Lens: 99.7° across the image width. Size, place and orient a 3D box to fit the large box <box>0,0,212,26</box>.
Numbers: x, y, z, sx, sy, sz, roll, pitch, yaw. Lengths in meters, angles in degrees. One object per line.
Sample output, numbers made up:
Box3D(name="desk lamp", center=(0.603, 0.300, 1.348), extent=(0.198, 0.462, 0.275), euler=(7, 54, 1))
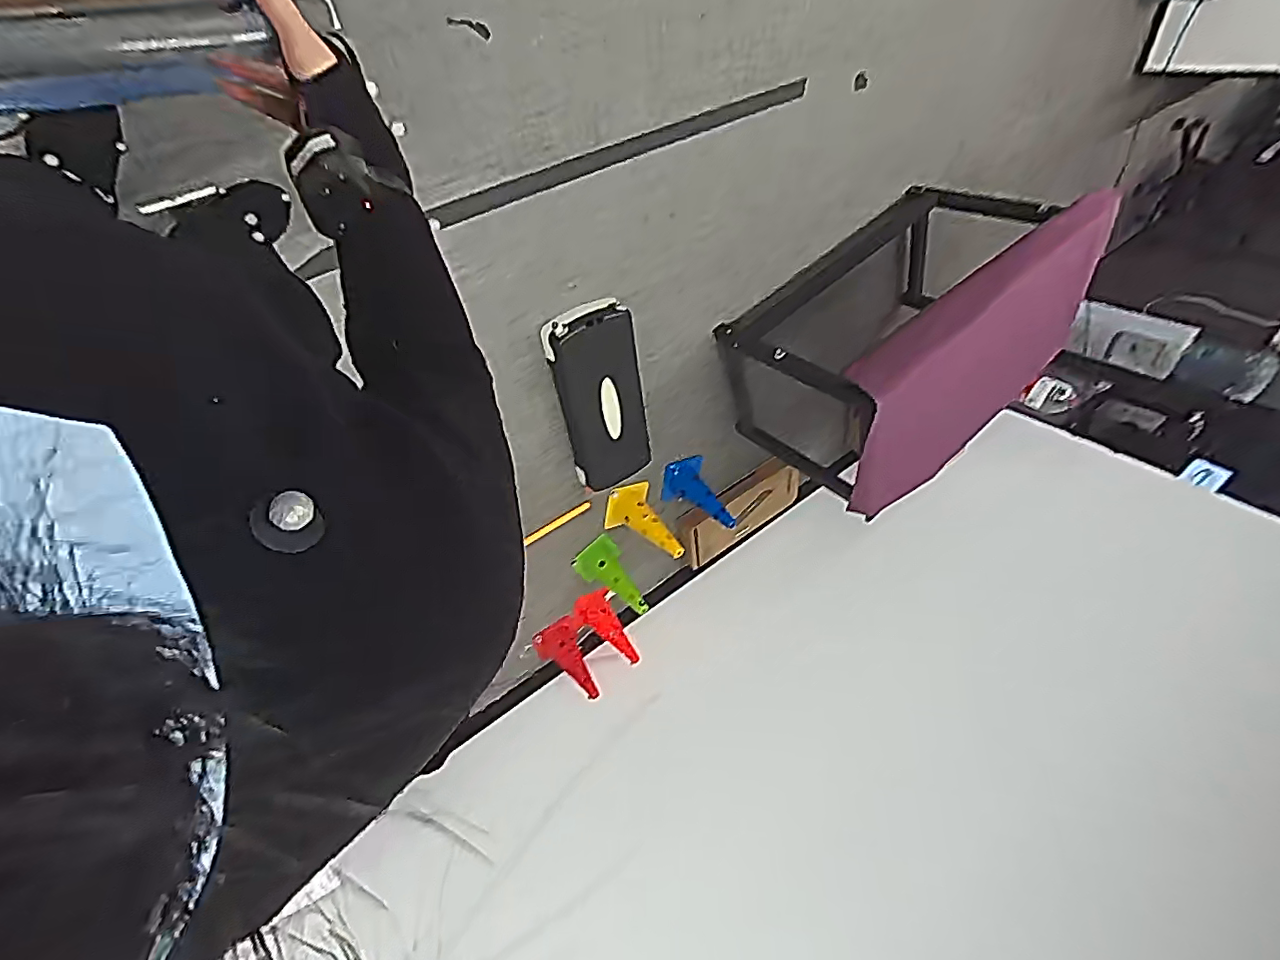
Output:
Box3D(name="large box", center=(-0.758, -0.689, 0.567), extent=(0.408, 0.320, 0.320), euler=(-27, 136, -25))
